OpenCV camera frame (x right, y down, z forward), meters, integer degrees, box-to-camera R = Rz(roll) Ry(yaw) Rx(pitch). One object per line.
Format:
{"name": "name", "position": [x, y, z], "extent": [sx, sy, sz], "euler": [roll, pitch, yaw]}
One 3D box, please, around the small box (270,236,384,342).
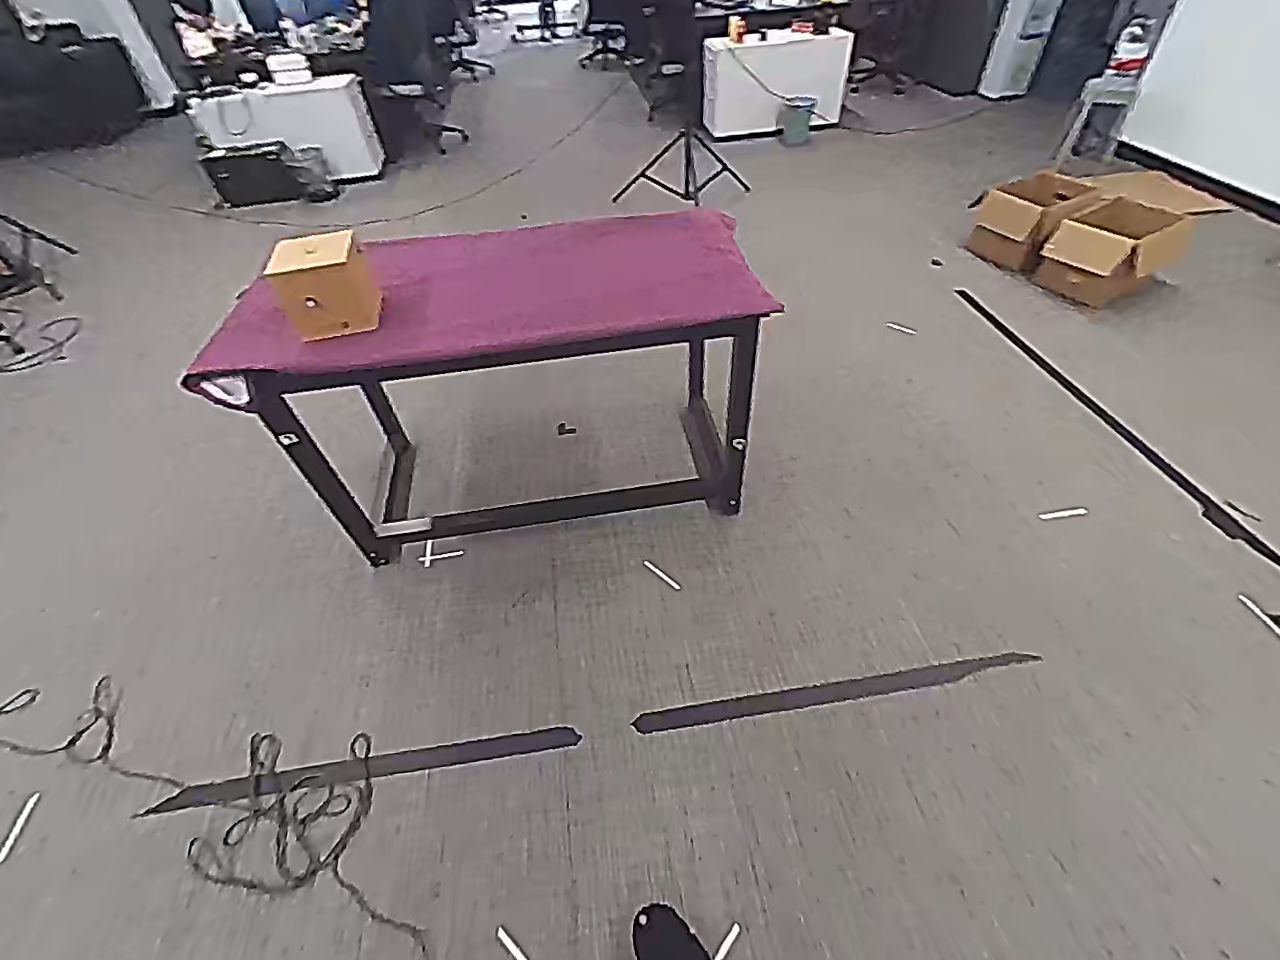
{"name": "small box", "position": [-0.711, -0.435, 1.250], "extent": [0.168, 0.176, 0.179], "euler": [-13, 47, -8]}
